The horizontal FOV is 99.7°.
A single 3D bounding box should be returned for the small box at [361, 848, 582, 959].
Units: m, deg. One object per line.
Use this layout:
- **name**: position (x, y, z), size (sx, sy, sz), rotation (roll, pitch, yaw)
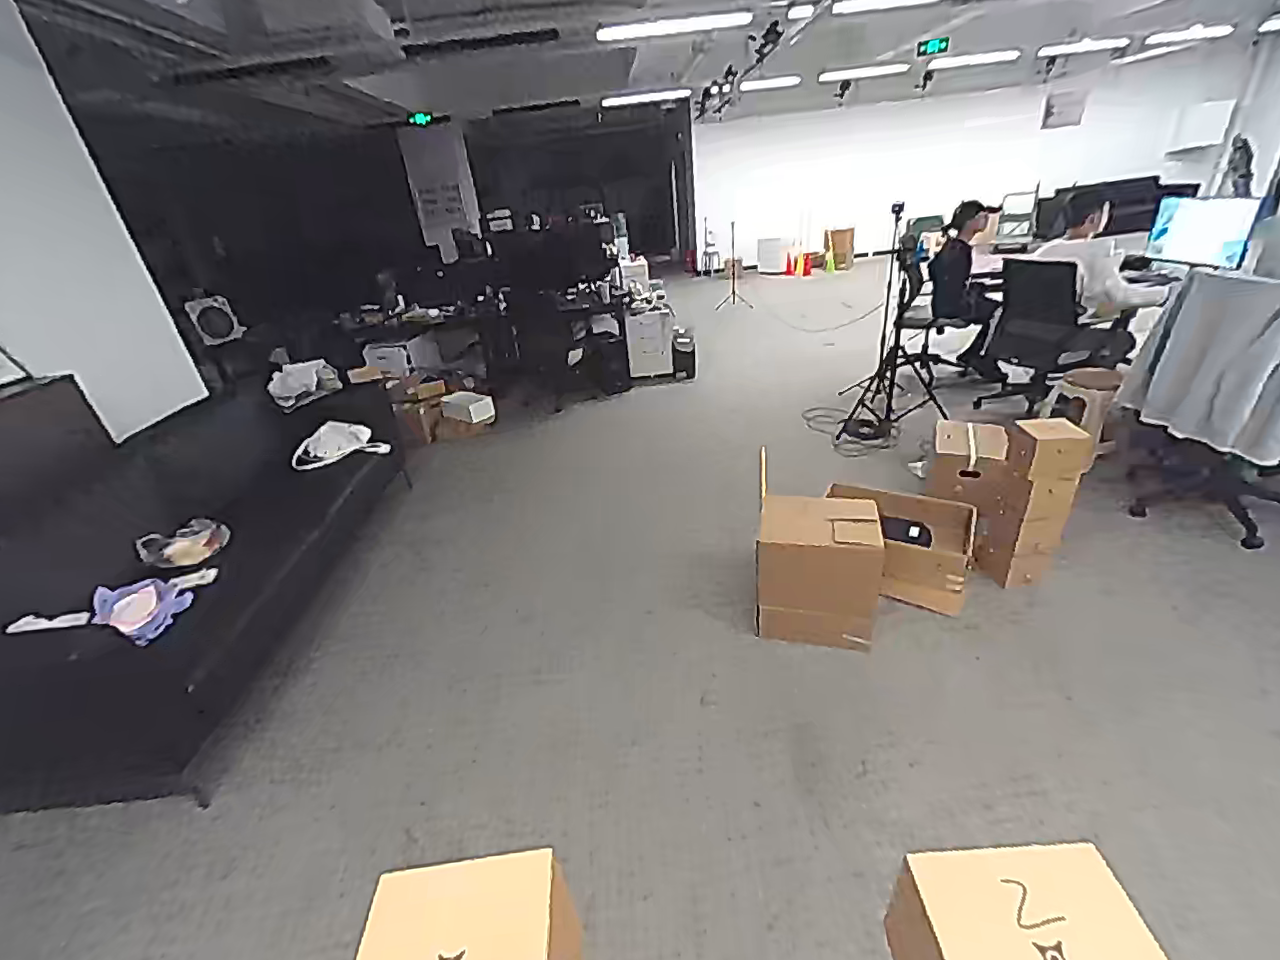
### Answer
- **small box**: position (-0.145, 0.472, 0.480), size (0.168, 0.176, 0.179), rotation (-8, 30, -1)
